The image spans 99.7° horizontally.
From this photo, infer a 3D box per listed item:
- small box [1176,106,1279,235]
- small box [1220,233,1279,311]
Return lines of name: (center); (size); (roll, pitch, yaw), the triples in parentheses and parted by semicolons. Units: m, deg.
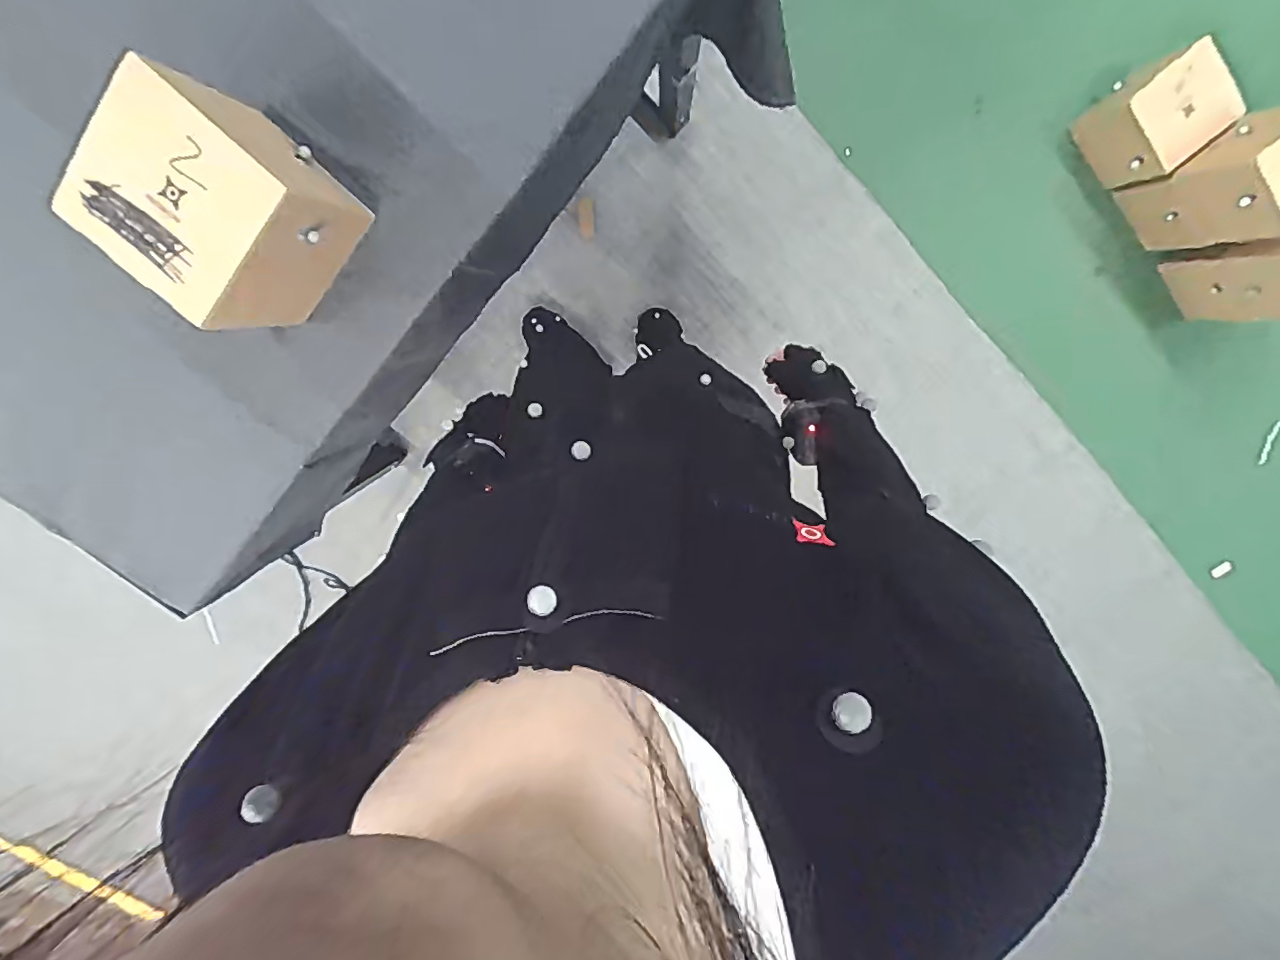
small box: (1.199, -0.590, 1.026); (0.168, 0.176, 0.179); (-39, 102, 15)
small box: (1.337, -0.449, 1.068); (0.179, 0.176, 0.168); (42, 105, -13)
